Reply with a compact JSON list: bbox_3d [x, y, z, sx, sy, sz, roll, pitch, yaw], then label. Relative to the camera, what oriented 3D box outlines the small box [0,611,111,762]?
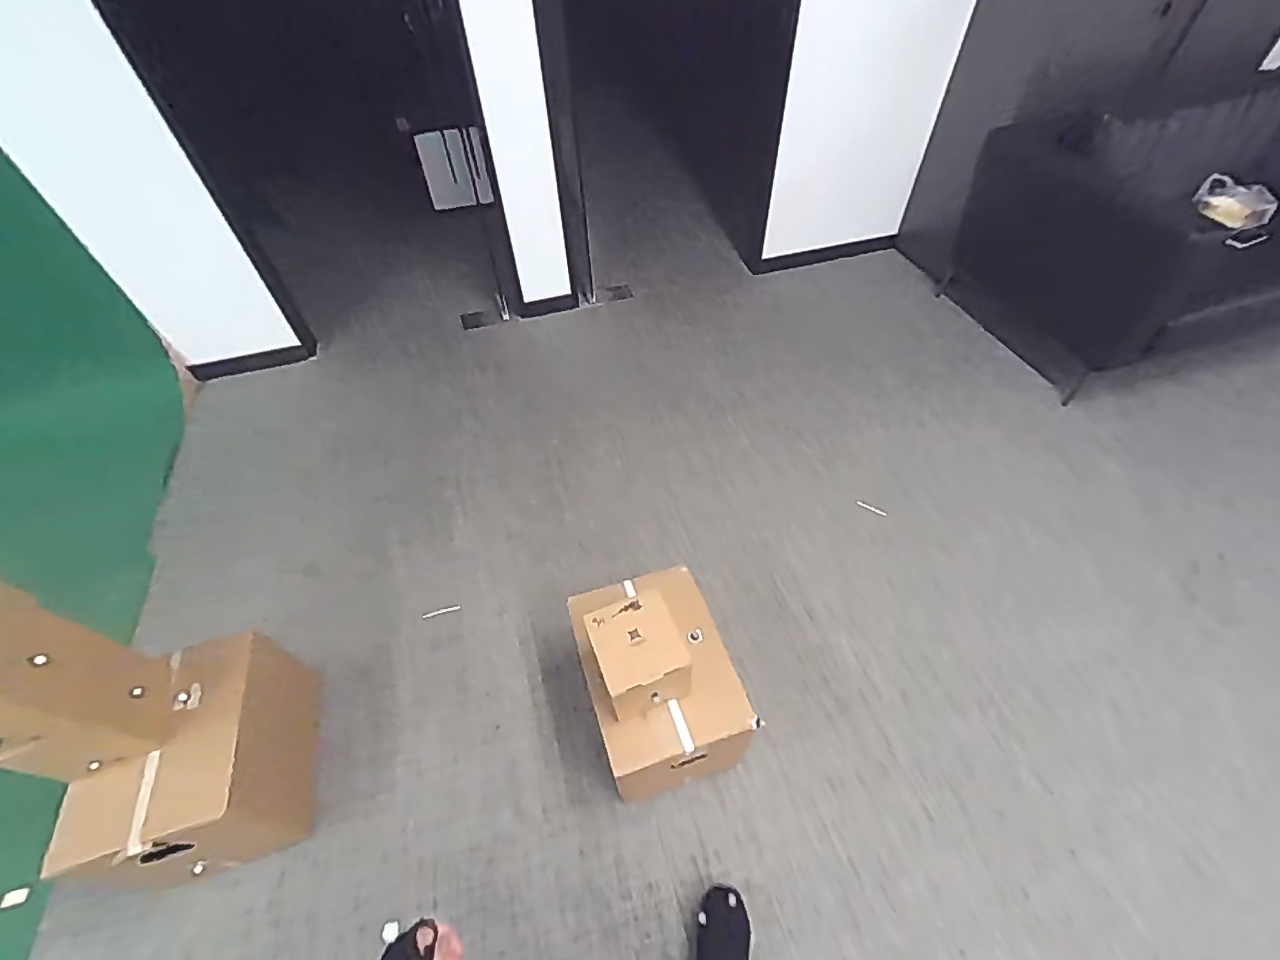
[{"bbox_3d":[-1.090,0.362,0.942,0.168,0.176,0.179,-17,52,-8],"label":"small box"}]

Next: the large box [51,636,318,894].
[{"bbox_3d":[-0.976,0.642,1.233,0.320,0.320,0.408,-16,50,-10],"label":"large box"}]

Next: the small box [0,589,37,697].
[{"bbox_3d":[-1.100,0.254,0.820,0.168,0.176,0.179,-16,52,-6],"label":"small box"}]

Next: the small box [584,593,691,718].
[{"bbox_3d":[-0.003,0.367,1.108,0.168,0.176,0.179,-19,52,-11],"label":"small box"}]
